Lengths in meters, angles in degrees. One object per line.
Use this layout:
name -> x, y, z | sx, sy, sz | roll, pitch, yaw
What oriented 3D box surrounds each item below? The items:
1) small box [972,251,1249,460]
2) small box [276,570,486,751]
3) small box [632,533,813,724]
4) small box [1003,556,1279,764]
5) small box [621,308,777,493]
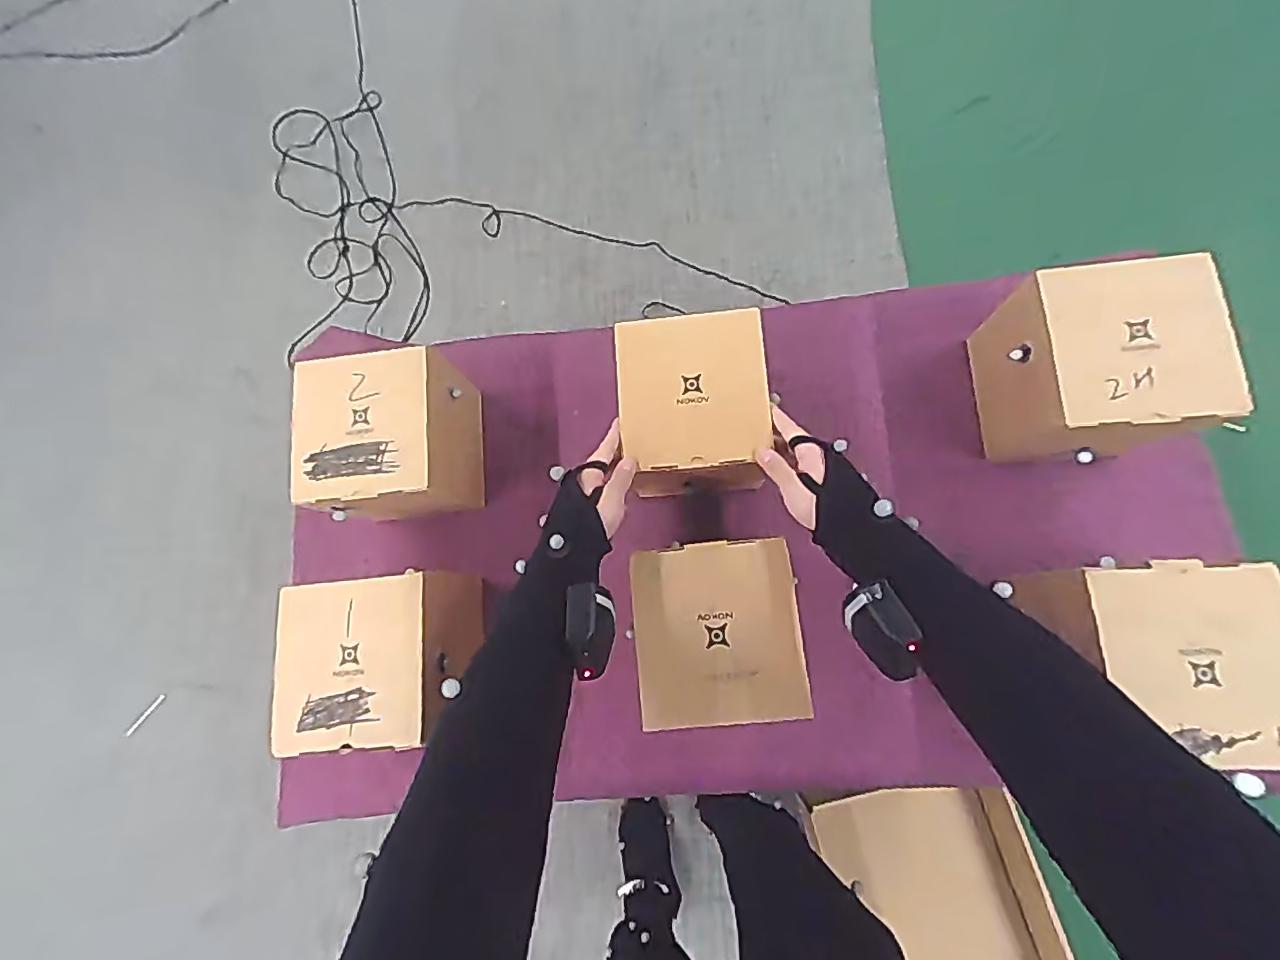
small box -> 0.512, -0.130, 0.622 | 0.168, 0.176, 0.179 | -4, 79, 9
small box -> -0.293, 0.206, 0.649 | 0.168, 0.176, 0.179 | -6, 75, 5
small box -> 0.087, 0.164, 0.614 | 0.168, 0.176, 0.179 | -7, 77, 6
small box -> 0.510, 0.177, 0.557 | 0.168, 0.176, 0.179 | -3, 75, 8
small box -> 0.069, -0.087, 0.671 | 0.168, 0.176, 0.179 | -4, 79, 6
